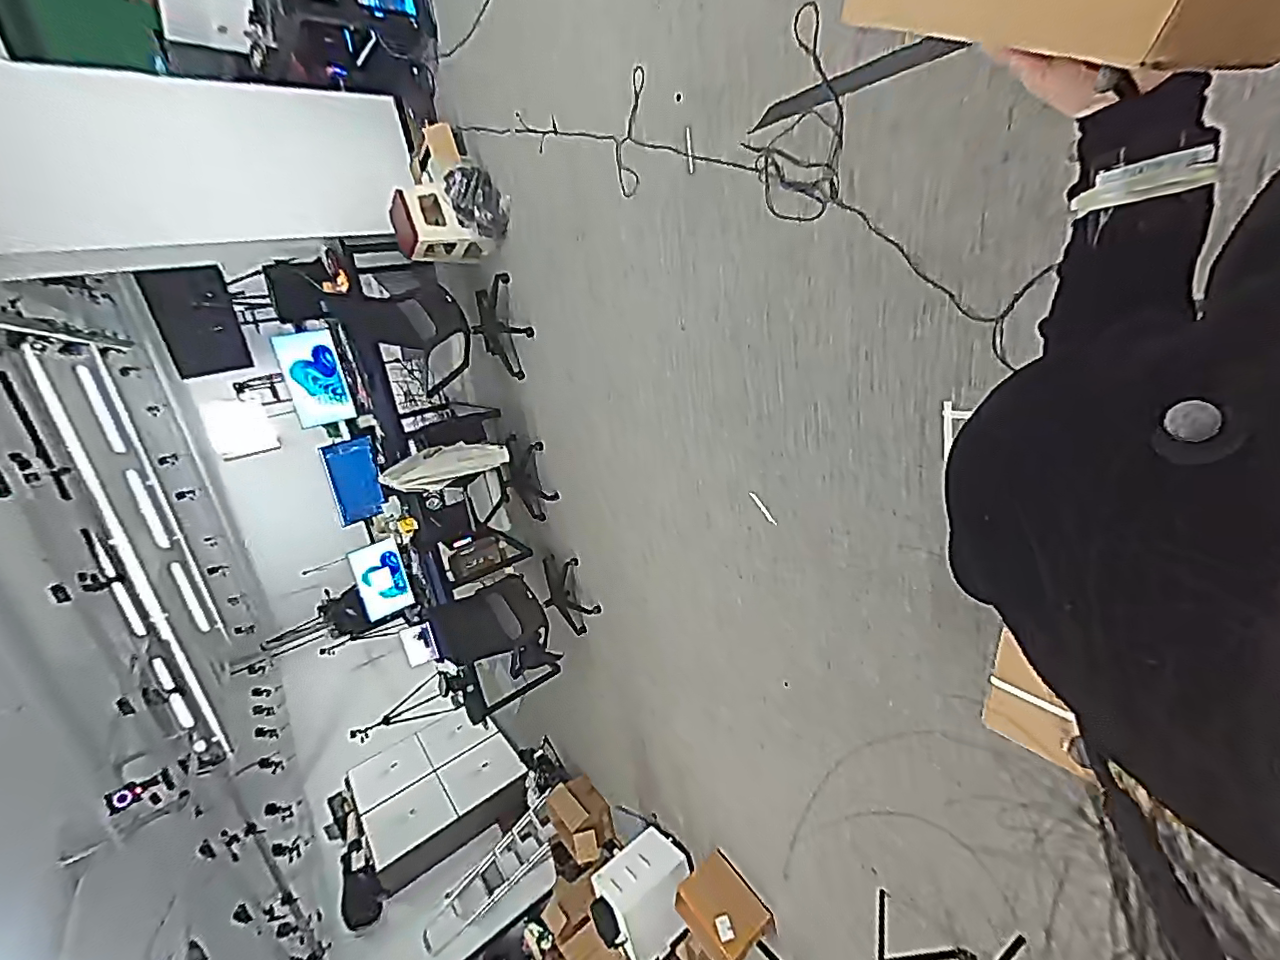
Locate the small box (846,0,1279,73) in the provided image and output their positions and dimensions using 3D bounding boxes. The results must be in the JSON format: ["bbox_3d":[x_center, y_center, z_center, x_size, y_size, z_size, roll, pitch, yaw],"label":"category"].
[{"bbox_3d":[0.245,-0.314,0.263,0.179,0.176,0.168,49,148,37],"label":"small box"}]
